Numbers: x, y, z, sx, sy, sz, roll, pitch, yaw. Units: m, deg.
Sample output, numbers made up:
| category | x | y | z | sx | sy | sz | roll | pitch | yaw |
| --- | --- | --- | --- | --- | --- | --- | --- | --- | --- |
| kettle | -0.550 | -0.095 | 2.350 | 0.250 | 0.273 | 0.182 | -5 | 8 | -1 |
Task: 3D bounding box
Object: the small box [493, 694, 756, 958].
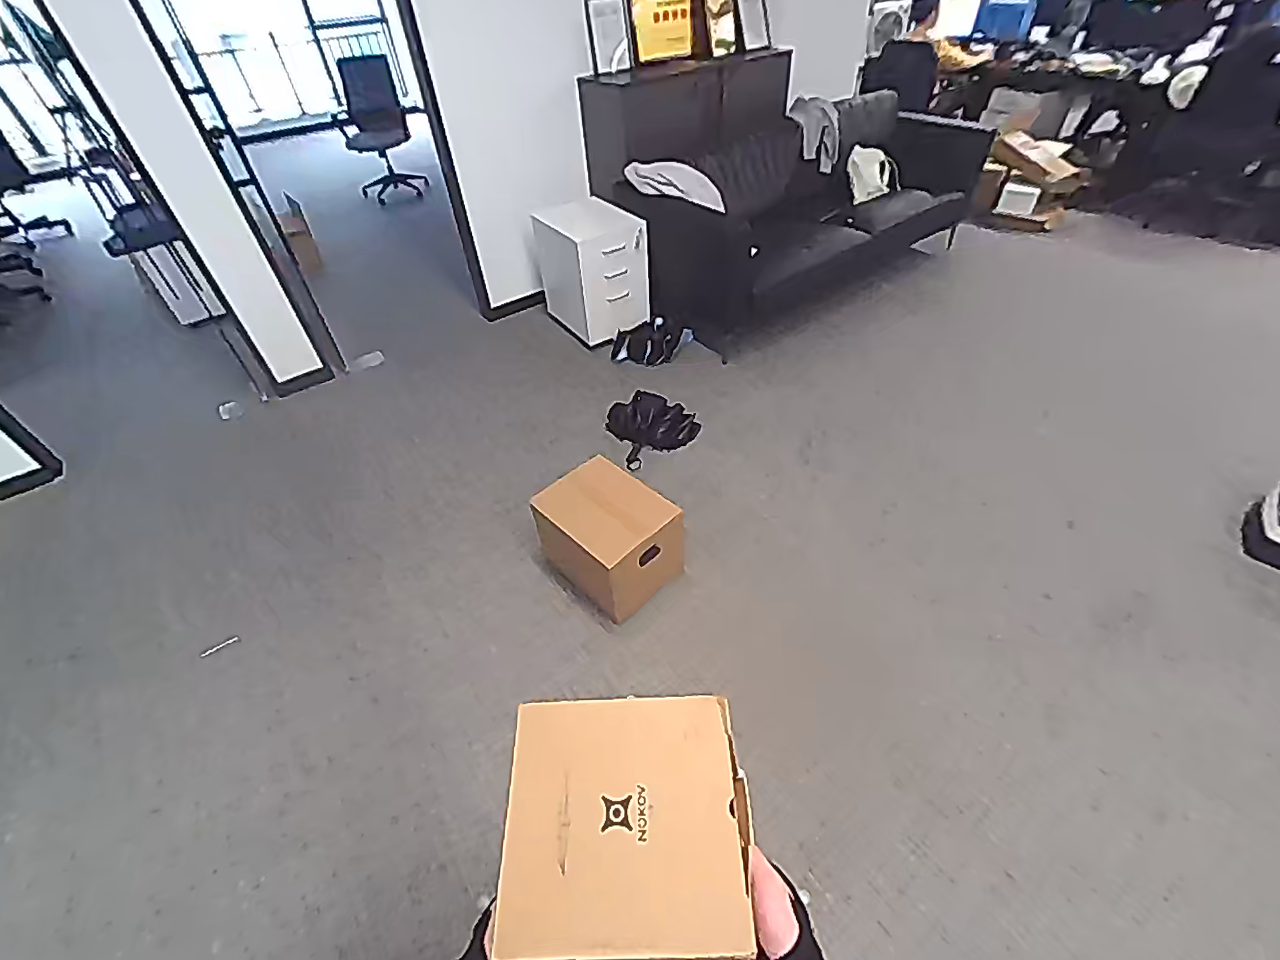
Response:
| category | x | y | z | sx | sy | sz | roll | pitch | yaw |
| --- | --- | --- | --- | --- | --- | --- | --- | --- | --- |
| small box | -0.007 | 0.295 | 0.464 | 0.179 | 0.176 | 0.168 | -4 | 51 | 2 |
